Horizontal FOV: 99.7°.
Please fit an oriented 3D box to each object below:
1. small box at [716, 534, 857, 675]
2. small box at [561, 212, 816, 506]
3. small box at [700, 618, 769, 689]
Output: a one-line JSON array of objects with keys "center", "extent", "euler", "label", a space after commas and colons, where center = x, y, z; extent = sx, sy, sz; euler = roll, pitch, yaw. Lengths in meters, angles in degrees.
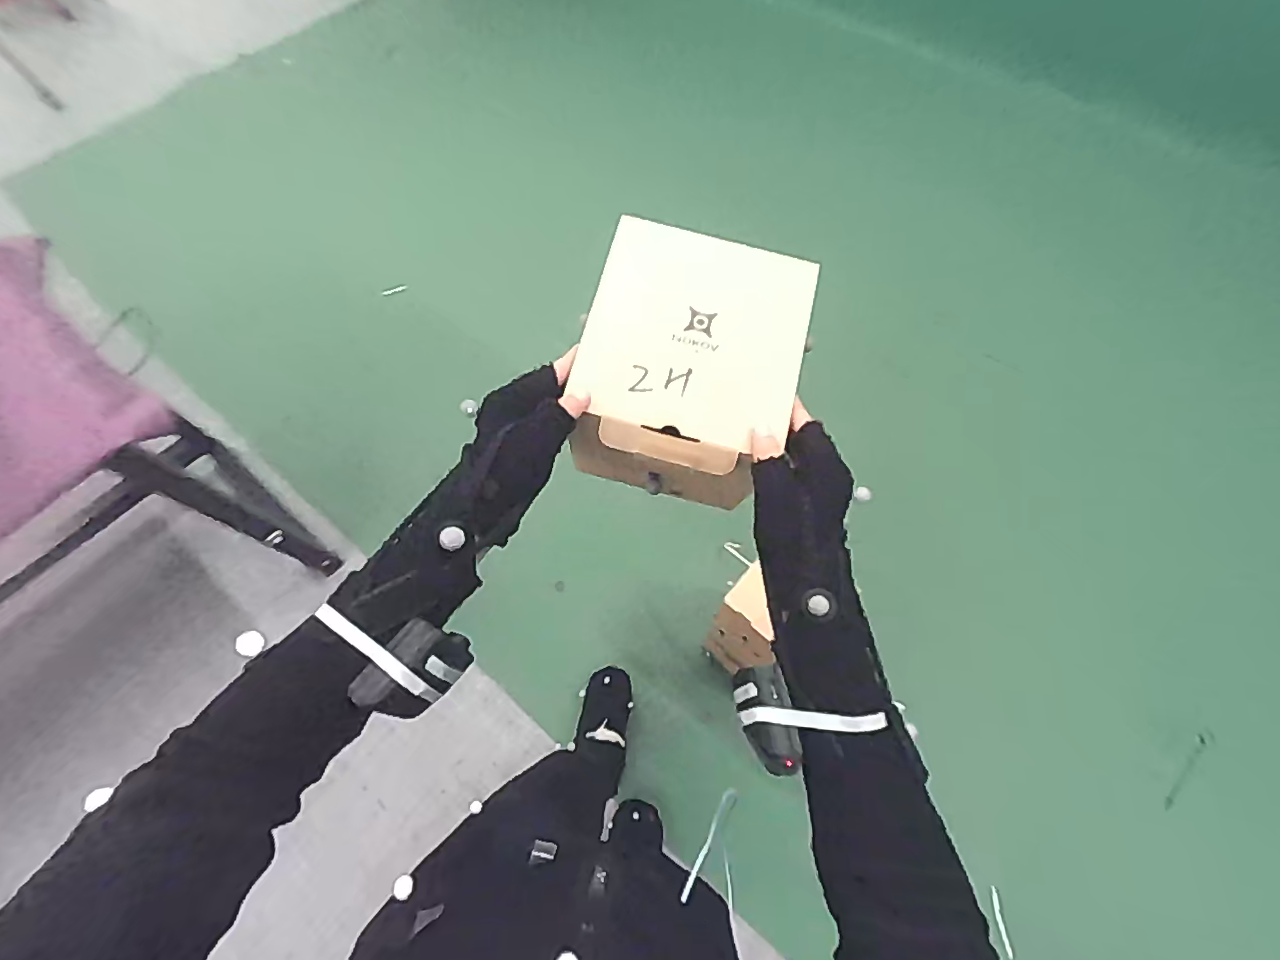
[{"center": [0.257, 0.235, 0.998], "extent": [0.168, 0.176, 0.179], "euler": [39, 71, 17], "label": "small box"}, {"center": [0.036, -0.092, 0.482], "extent": [0.168, 0.176, 0.179], "euler": [15, 75, 1], "label": "small box"}, {"center": [0.258, 0.377, 1.293], "extent": [0.168, 0.176, 0.179], "euler": [38, 72, 17], "label": "small box"}]
